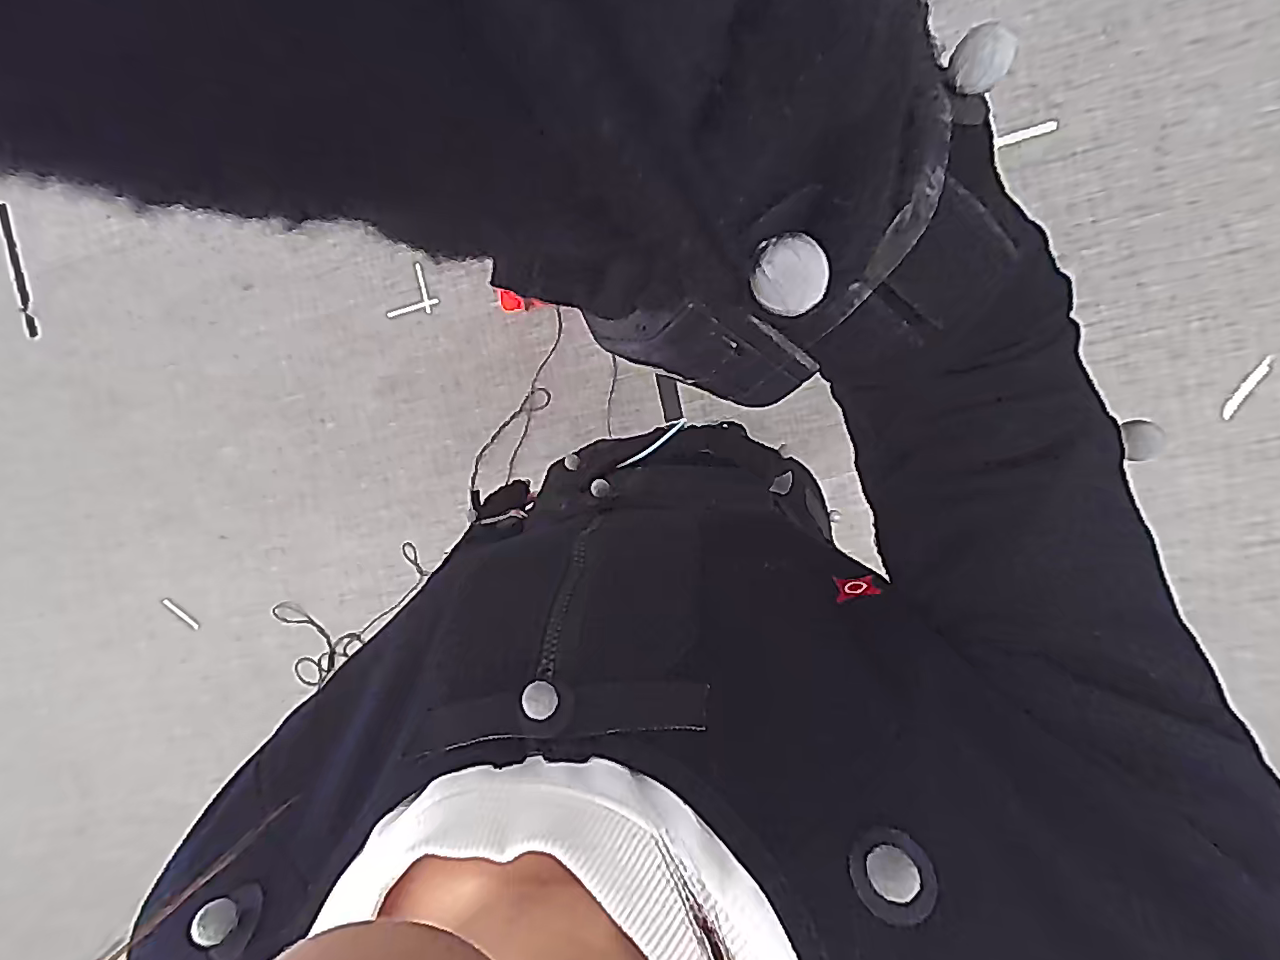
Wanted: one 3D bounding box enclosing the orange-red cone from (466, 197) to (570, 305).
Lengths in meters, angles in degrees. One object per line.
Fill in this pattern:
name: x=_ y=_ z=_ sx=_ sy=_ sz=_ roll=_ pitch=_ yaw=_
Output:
orange-red cone: x=-0.308 y=-0.554 z=1.248 sx=0.199 sy=0.360 sz=0.198 roll=-7 pitch=93 yaw=9
